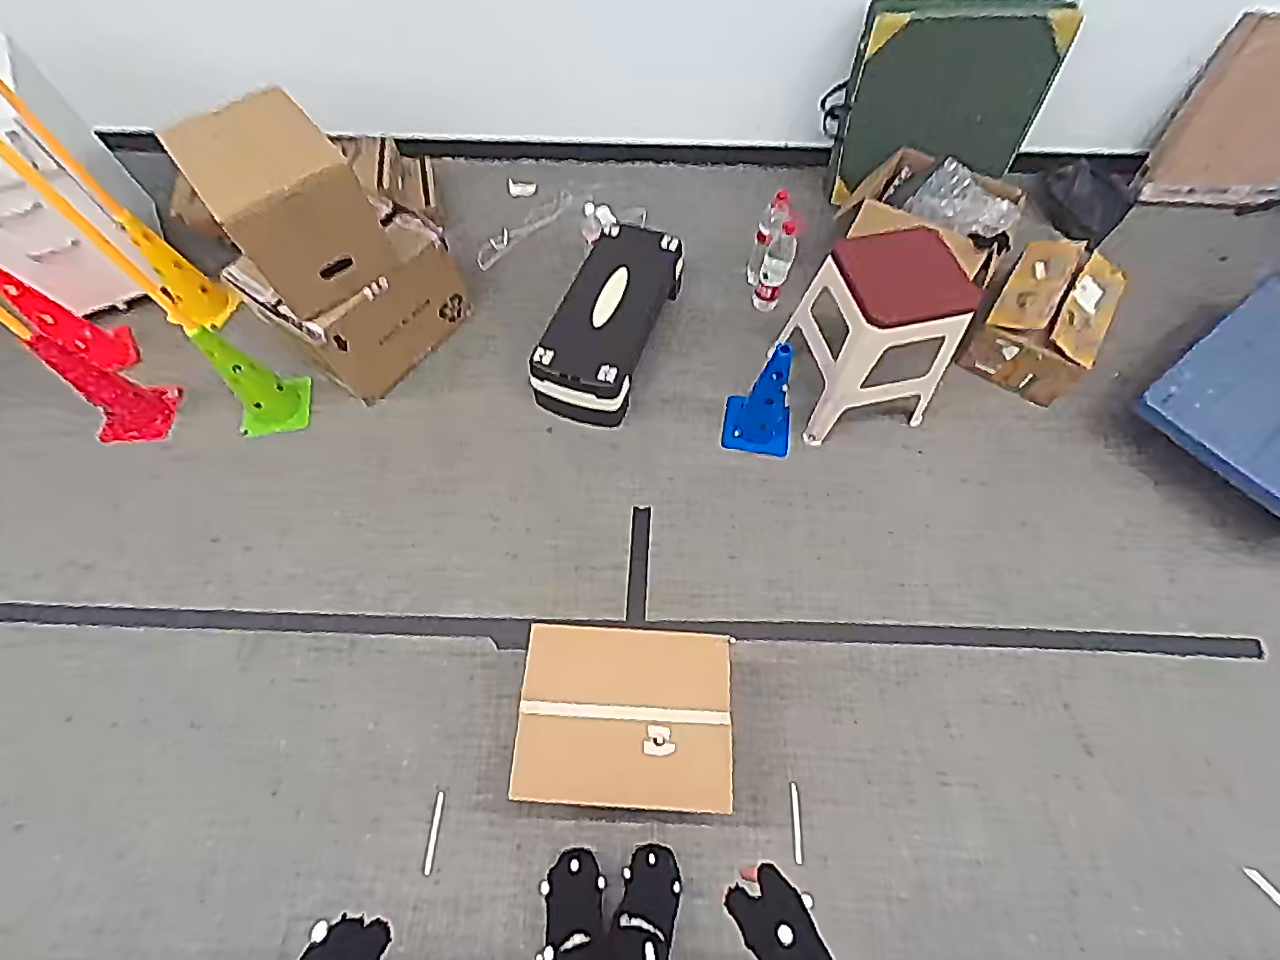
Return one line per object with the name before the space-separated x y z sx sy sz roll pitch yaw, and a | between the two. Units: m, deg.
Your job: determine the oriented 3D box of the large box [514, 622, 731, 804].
large box | -0.032 0.505 1.174 0.408 0.320 0.320 4 64 0
